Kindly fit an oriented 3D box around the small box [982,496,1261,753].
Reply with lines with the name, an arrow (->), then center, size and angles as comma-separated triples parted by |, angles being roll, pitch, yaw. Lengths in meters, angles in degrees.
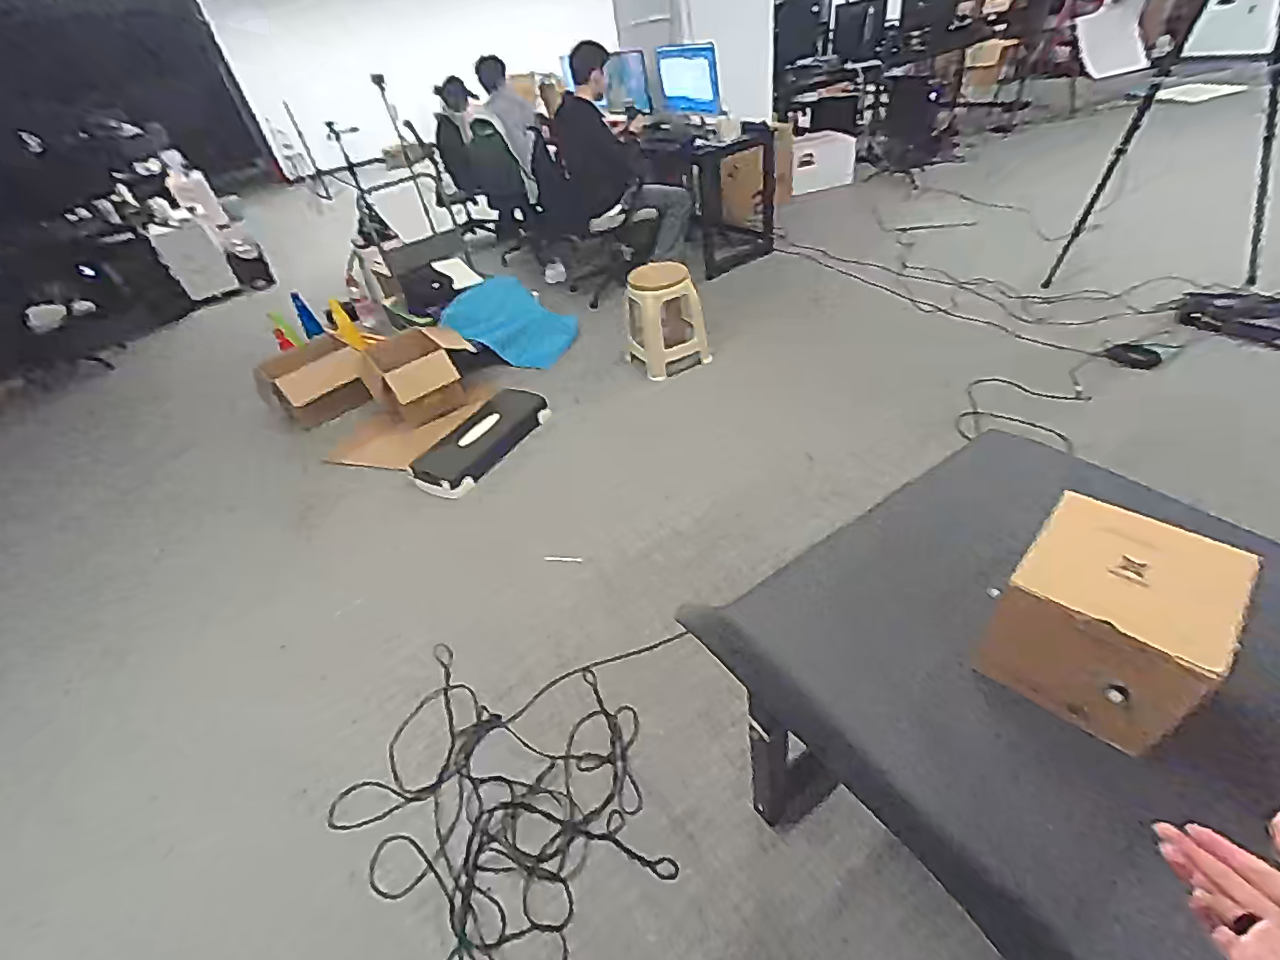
small box -> 0.507, 0.155, 0.593 | 0.179, 0.176, 0.168 | -36, 47, -29
